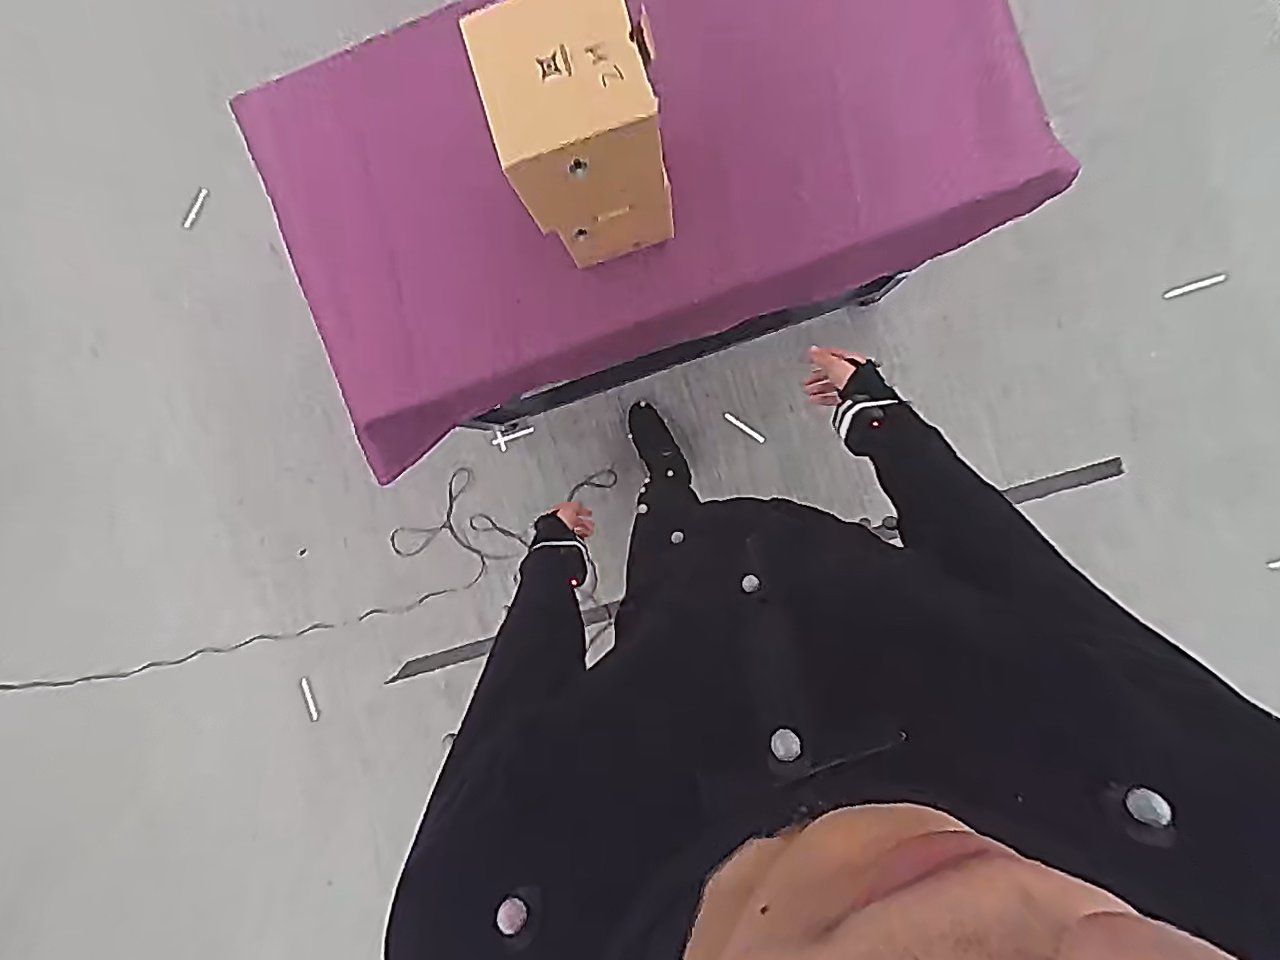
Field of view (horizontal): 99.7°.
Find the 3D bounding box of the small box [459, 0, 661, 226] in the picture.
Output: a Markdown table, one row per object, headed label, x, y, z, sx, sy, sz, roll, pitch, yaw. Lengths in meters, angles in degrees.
| label | x | y | z | sx | sy | sz | roll | pitch | yaw |
| --- | --- | --- | --- | --- | --- | --- | --- | --- | --- |
| small box | -0.081 | -0.433 | 0.641 | 0.179 | 0.176 | 0.168 | -16 | 91 | 5 |
